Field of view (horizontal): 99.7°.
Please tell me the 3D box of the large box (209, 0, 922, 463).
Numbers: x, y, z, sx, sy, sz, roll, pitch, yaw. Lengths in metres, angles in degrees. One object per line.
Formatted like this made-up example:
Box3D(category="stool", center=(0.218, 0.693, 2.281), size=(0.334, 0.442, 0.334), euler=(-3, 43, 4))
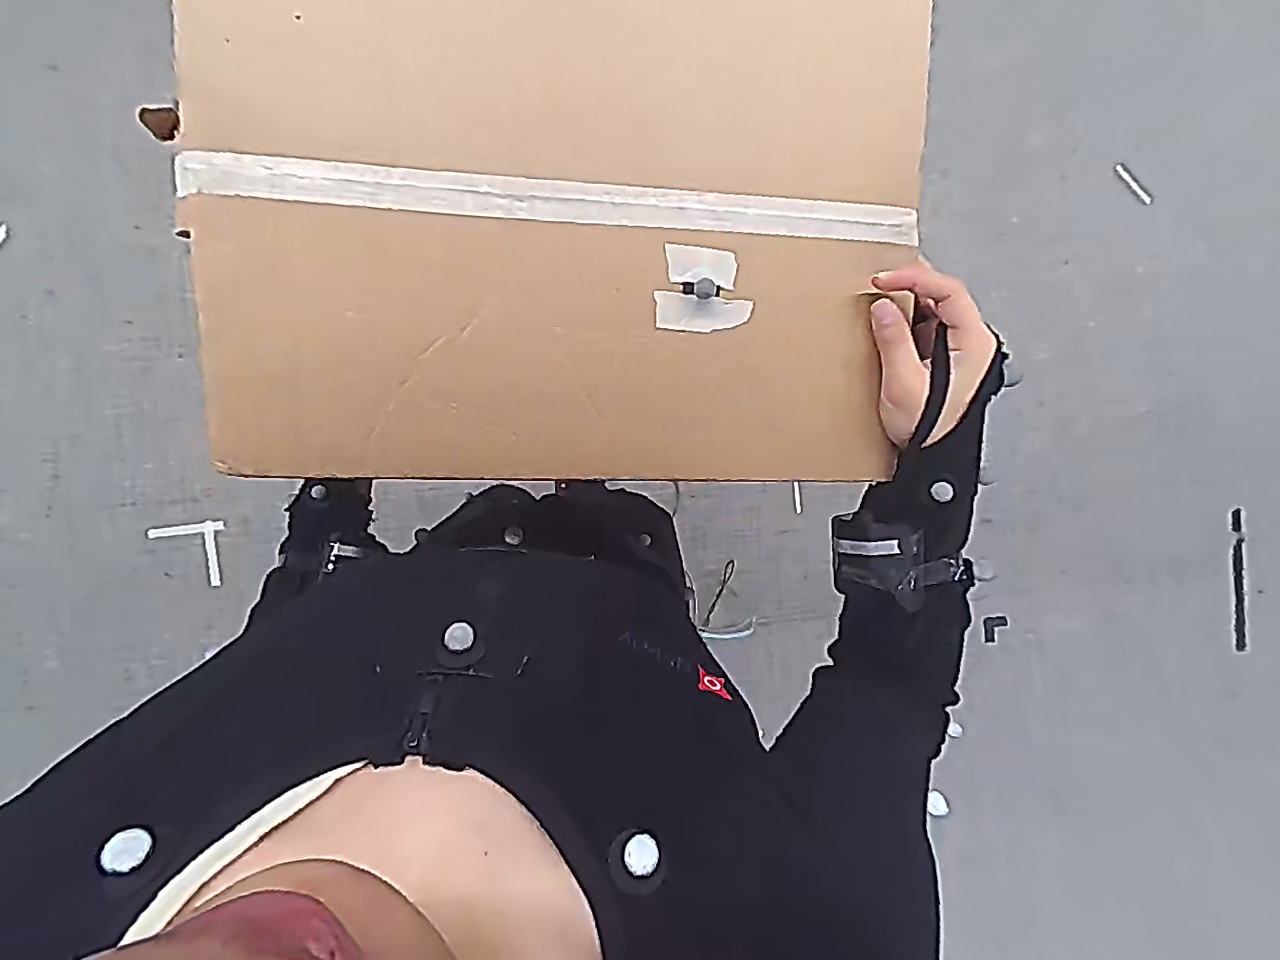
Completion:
Box3D(category="large box", center=(-0.049, -0.184, 0.460), size=(0.408, 0.320, 0.320), euler=(0, 98, -10))
